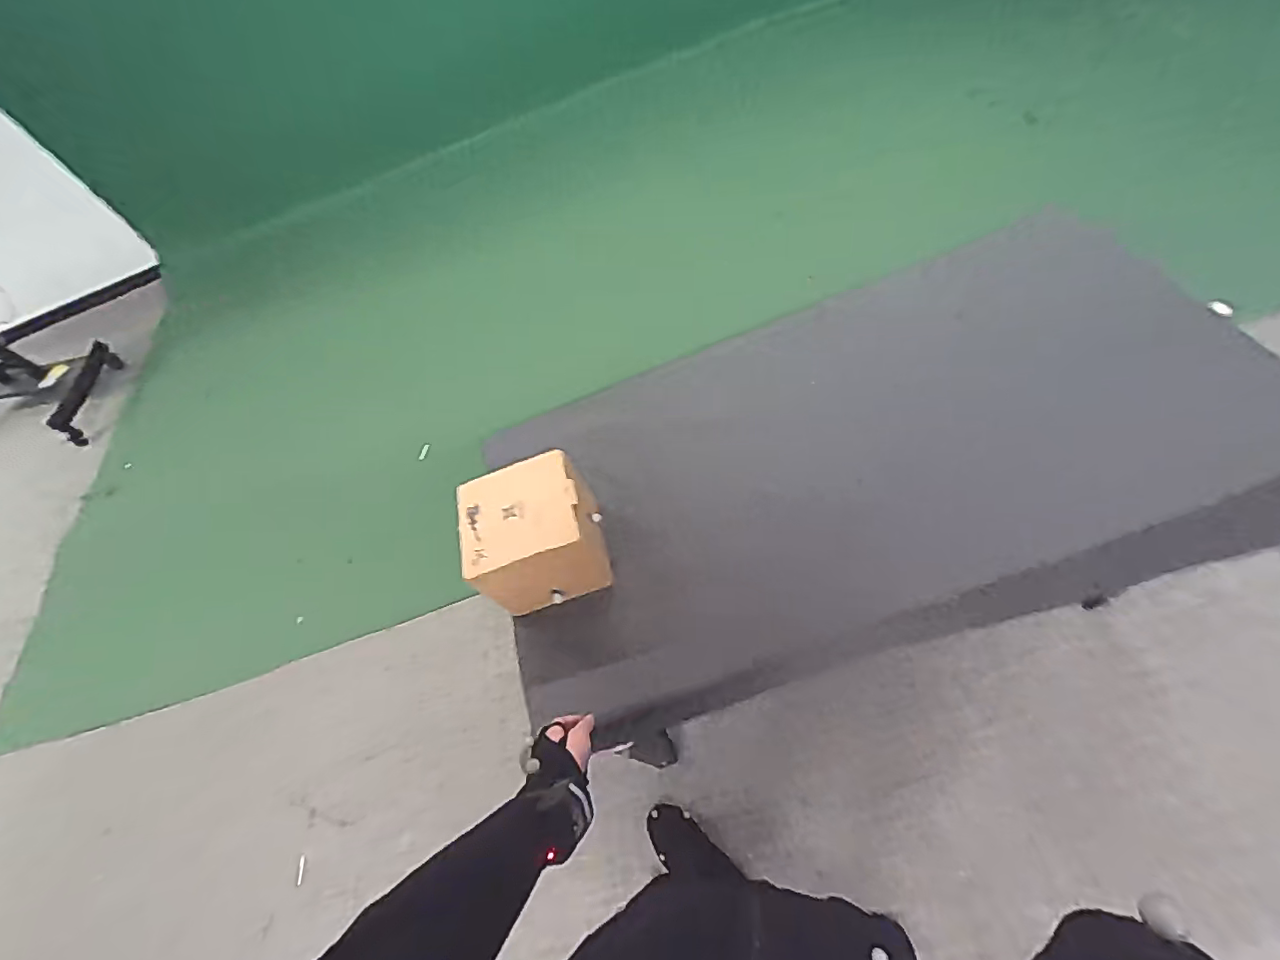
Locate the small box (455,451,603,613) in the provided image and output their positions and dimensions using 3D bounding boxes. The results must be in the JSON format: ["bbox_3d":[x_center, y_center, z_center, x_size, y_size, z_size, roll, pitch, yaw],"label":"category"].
[{"bbox_3d":[-0.166,0.086,0.847,0.179,0.176,0.168,-19,55,3],"label":"small box"}]
